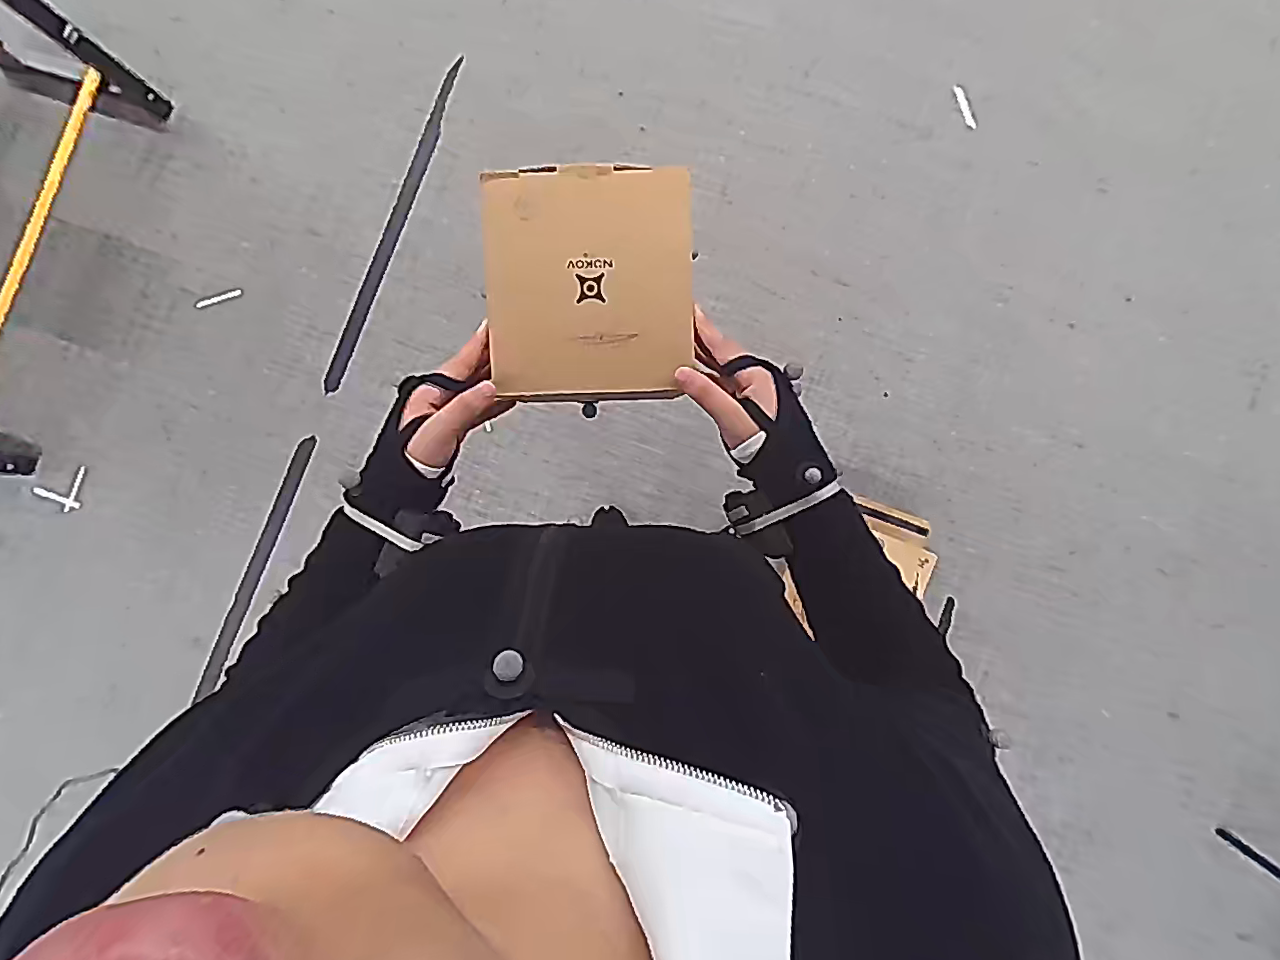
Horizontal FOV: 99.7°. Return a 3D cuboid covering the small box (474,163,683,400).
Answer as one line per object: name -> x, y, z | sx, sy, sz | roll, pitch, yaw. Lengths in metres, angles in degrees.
small box -> -0.051, -0.169, 0.511 | 0.168, 0.176, 0.179 | -2, 97, -2
